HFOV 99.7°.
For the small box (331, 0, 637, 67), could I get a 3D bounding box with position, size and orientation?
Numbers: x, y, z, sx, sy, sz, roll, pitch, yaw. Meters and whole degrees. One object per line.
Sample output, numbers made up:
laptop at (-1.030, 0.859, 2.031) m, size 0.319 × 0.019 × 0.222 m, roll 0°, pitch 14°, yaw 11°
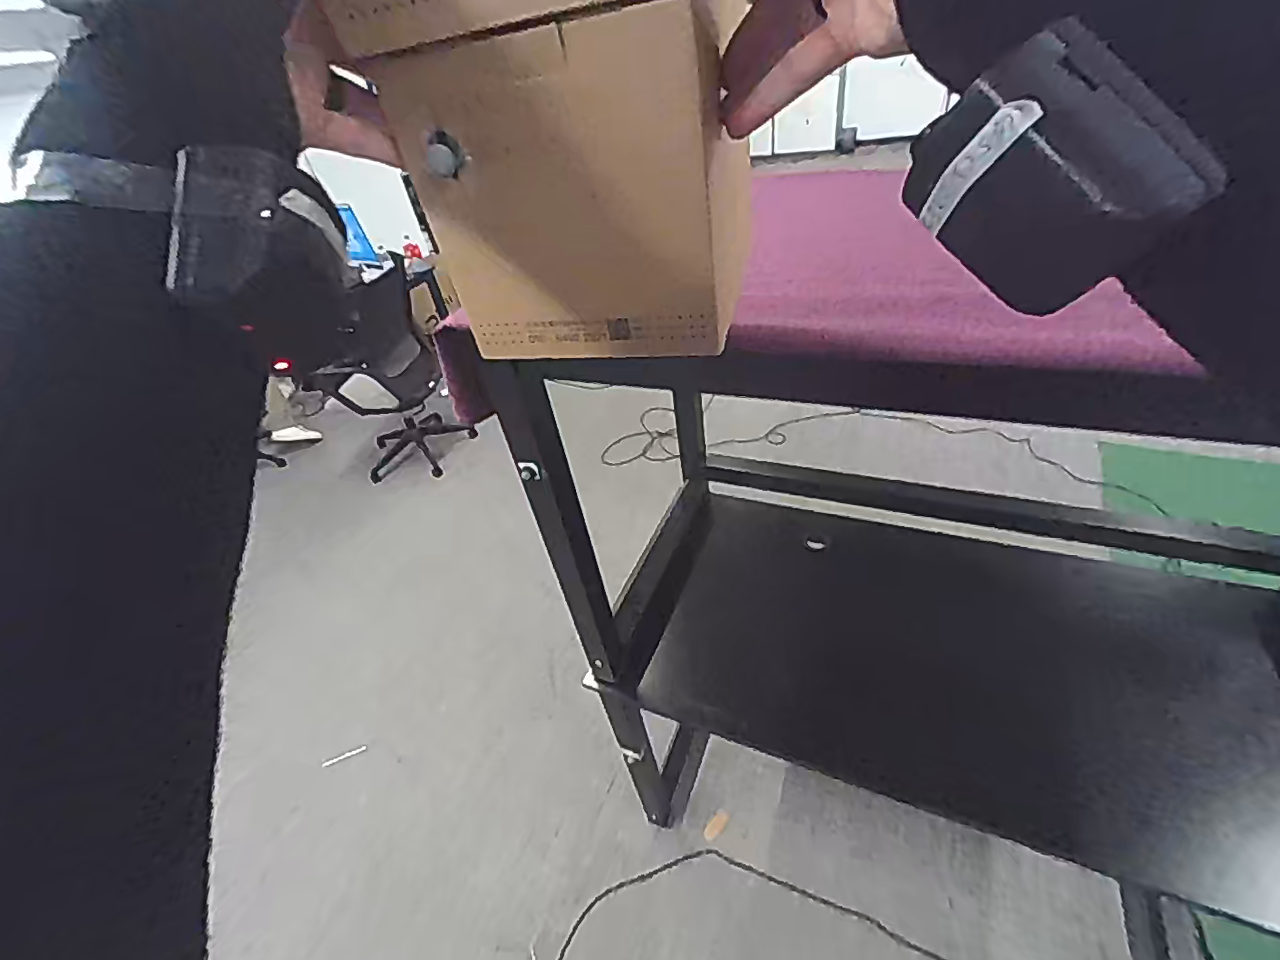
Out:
small box at (-0.058, -0.317, 0.245) m, size 0.179 × 0.176 × 0.168 m, roll 0°, pitch 44°, yaw 15°
